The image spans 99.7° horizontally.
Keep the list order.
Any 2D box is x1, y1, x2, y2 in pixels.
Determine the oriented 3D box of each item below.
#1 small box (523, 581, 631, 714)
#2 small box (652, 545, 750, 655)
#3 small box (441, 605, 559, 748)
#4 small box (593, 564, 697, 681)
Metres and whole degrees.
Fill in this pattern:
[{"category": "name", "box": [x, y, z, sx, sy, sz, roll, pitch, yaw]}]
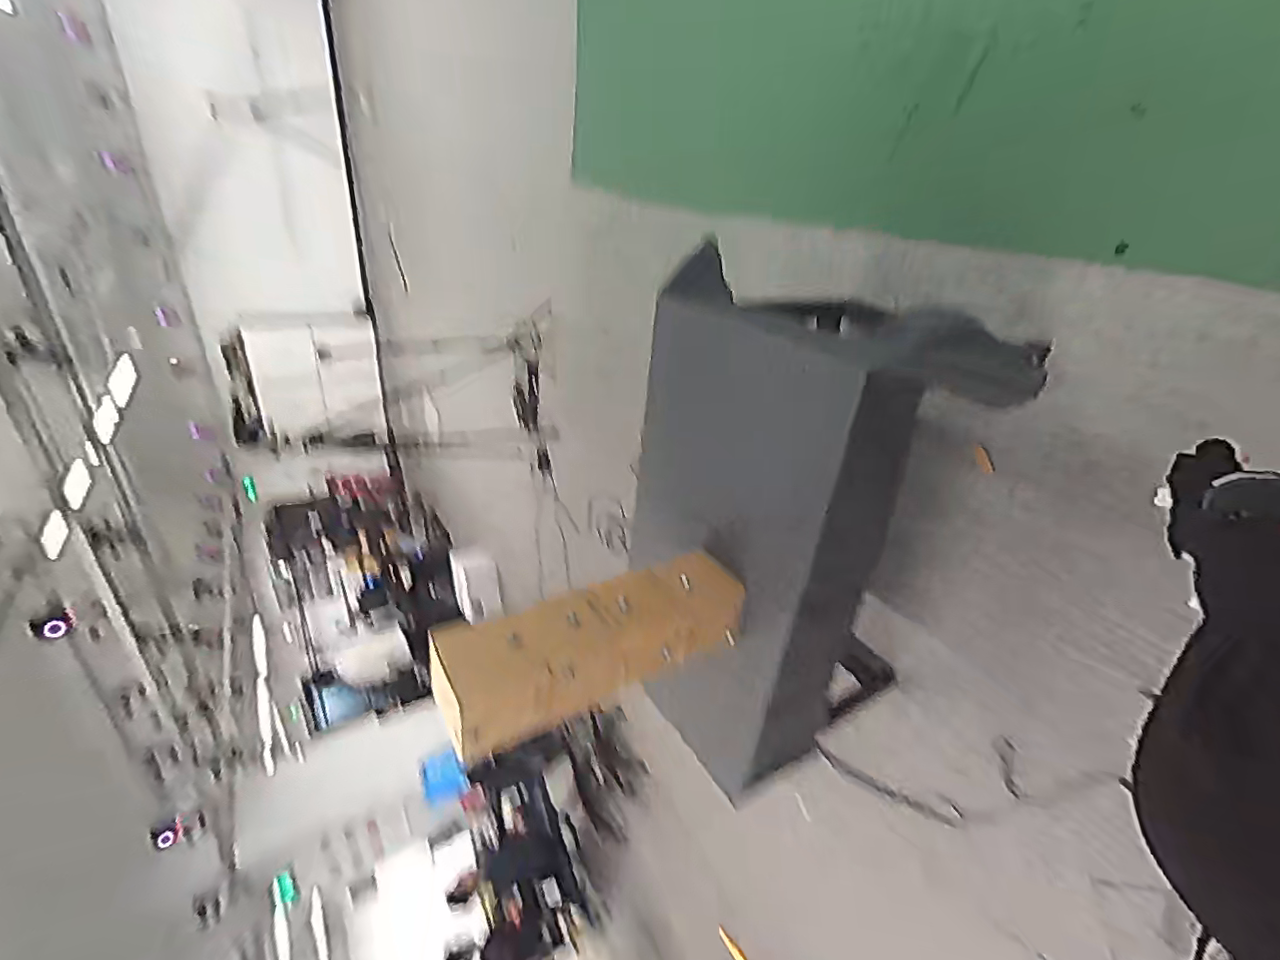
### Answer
[{"category": "small box", "box": [-0.134, 0.336, 1.120, 0.168, 0.176, 0.179, 42, 134, 44]}, {"category": "small box", "box": [0.137, 0.277, 1.293, 0.179, 0.176, 0.168, 40, 133, 46]}, {"category": "small box", "box": [-0.270, 0.362, 1.033, 0.179, 0.176, 0.168, 43, 134, 44]}, {"category": "small box", "box": [0.002, 0.306, 1.209, 0.179, 0.176, 0.168, 40, 132, 45]}]
